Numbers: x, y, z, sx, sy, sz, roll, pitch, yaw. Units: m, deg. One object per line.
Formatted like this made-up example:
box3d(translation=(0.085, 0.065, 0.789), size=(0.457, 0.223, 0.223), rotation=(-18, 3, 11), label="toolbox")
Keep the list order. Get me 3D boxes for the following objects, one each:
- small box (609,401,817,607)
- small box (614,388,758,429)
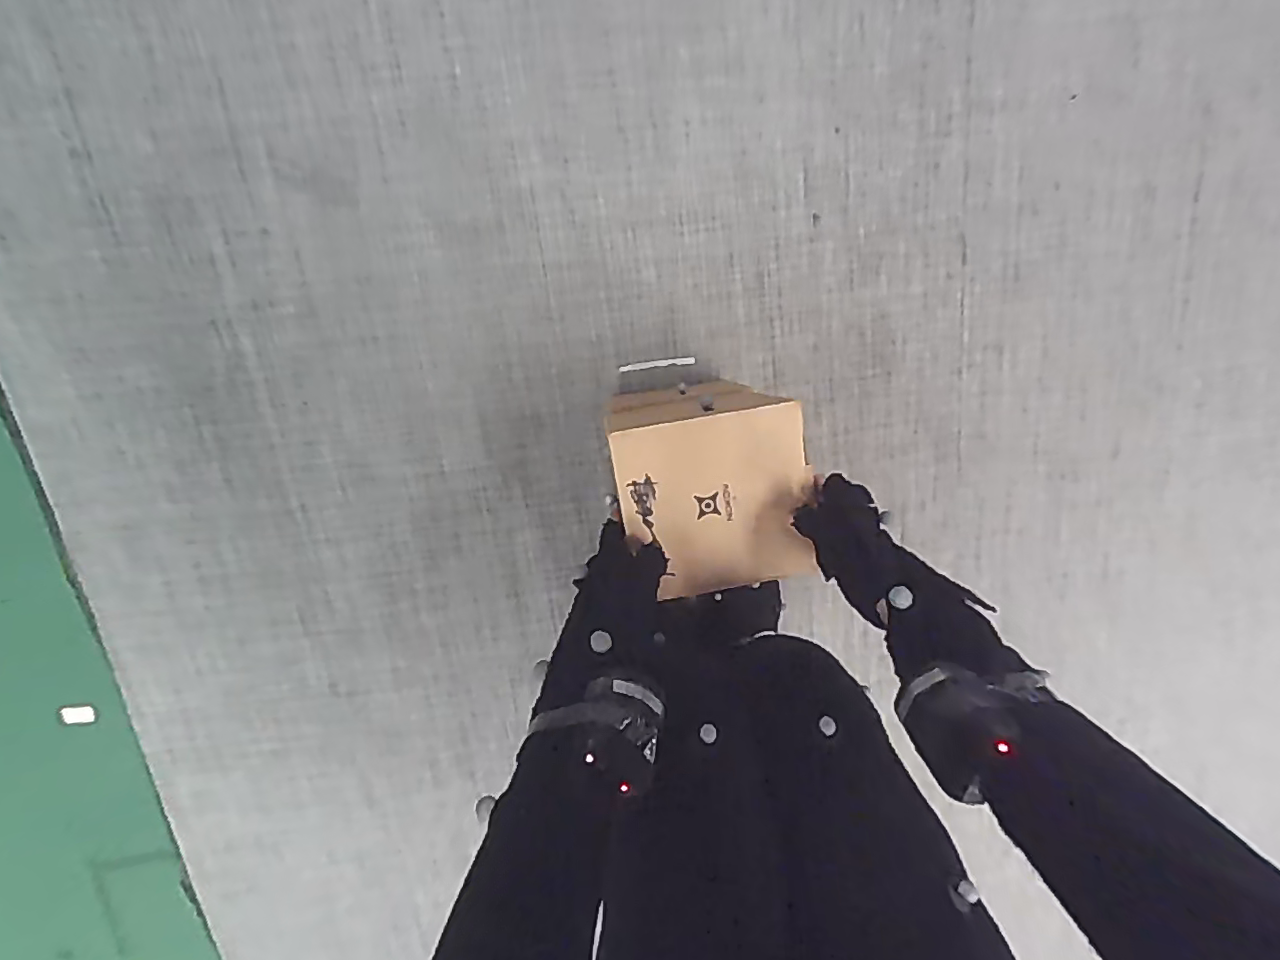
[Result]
box3d(translation=(0.066, 0.012, 0.574), size=(0.179, 0.176, 0.168), rotation=(-10, 101, -2), label="small box")
box3d(translation=(0.060, -0.030, 0.733), size=(0.179, 0.176, 0.168), rotation=(-9, 102, 0), label="small box")
